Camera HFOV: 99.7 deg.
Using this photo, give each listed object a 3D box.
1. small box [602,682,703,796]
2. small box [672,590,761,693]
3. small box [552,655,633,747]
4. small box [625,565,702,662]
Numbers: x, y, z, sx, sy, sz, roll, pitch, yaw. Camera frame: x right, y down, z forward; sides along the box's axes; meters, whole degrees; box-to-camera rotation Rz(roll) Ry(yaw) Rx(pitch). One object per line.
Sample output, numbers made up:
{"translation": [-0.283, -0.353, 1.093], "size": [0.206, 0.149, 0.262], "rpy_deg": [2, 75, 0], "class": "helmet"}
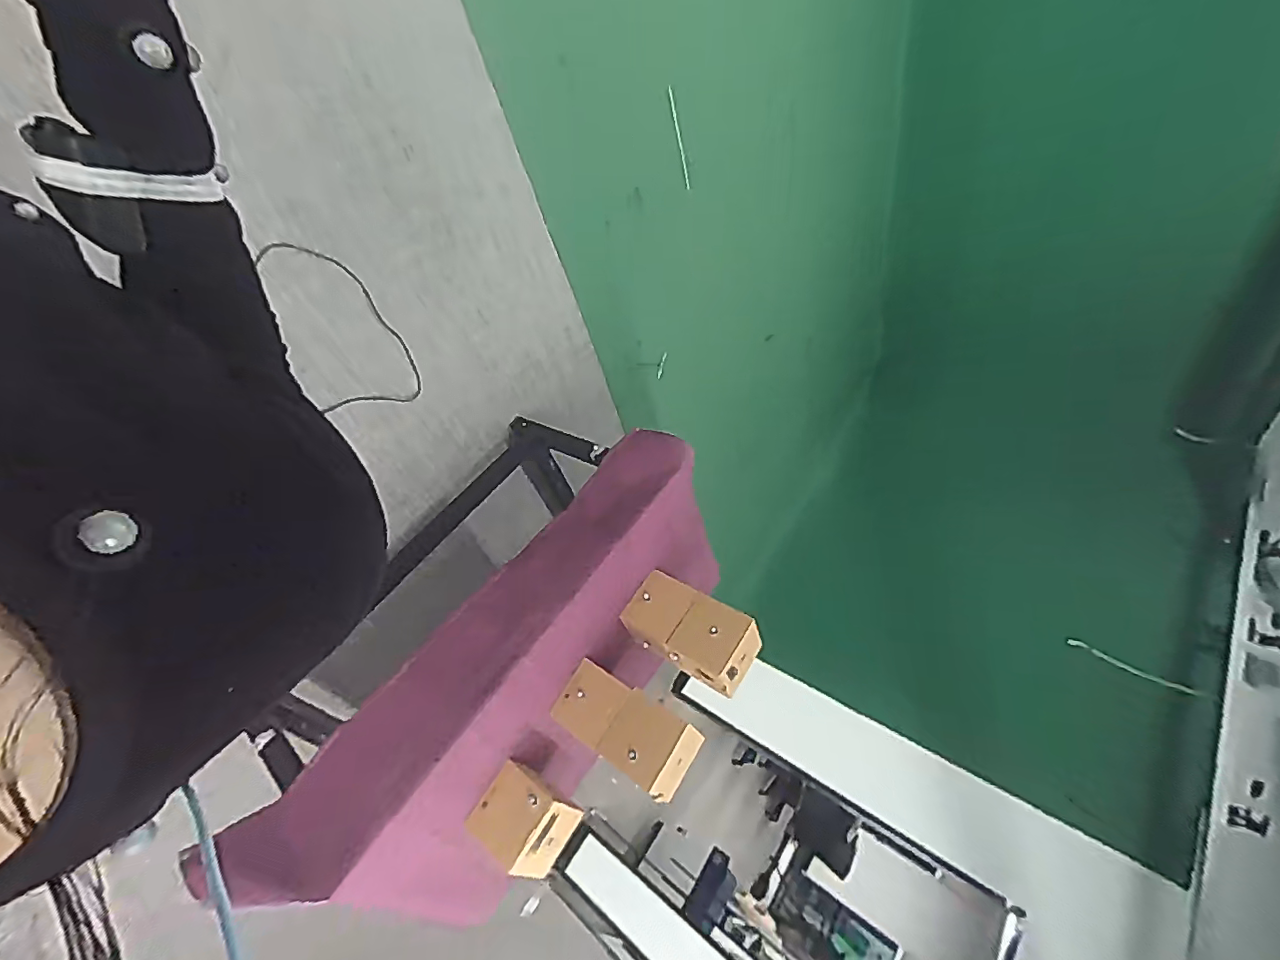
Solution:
{"translation": [0.027, 0.637, 1.337], "size": [0.179, 0.176, 0.168], "rpy_deg": [-54, 143, -20], "class": "small box"}
{"translation": [0.201, 0.429, 1.453], "size": [0.179, 0.176, 0.168], "rpy_deg": [-52, 141, -23], "class": "small box"}
{"translation": [-0.098, 0.592, 1.433], "size": [0.168, 0.176, 0.179], "rpy_deg": [-55, 142, -19], "class": "small box"}
{"translation": [0.077, 0.379, 1.548], "size": [0.179, 0.176, 0.168], "rpy_deg": [-51, 141, -23], "class": "small box"}
